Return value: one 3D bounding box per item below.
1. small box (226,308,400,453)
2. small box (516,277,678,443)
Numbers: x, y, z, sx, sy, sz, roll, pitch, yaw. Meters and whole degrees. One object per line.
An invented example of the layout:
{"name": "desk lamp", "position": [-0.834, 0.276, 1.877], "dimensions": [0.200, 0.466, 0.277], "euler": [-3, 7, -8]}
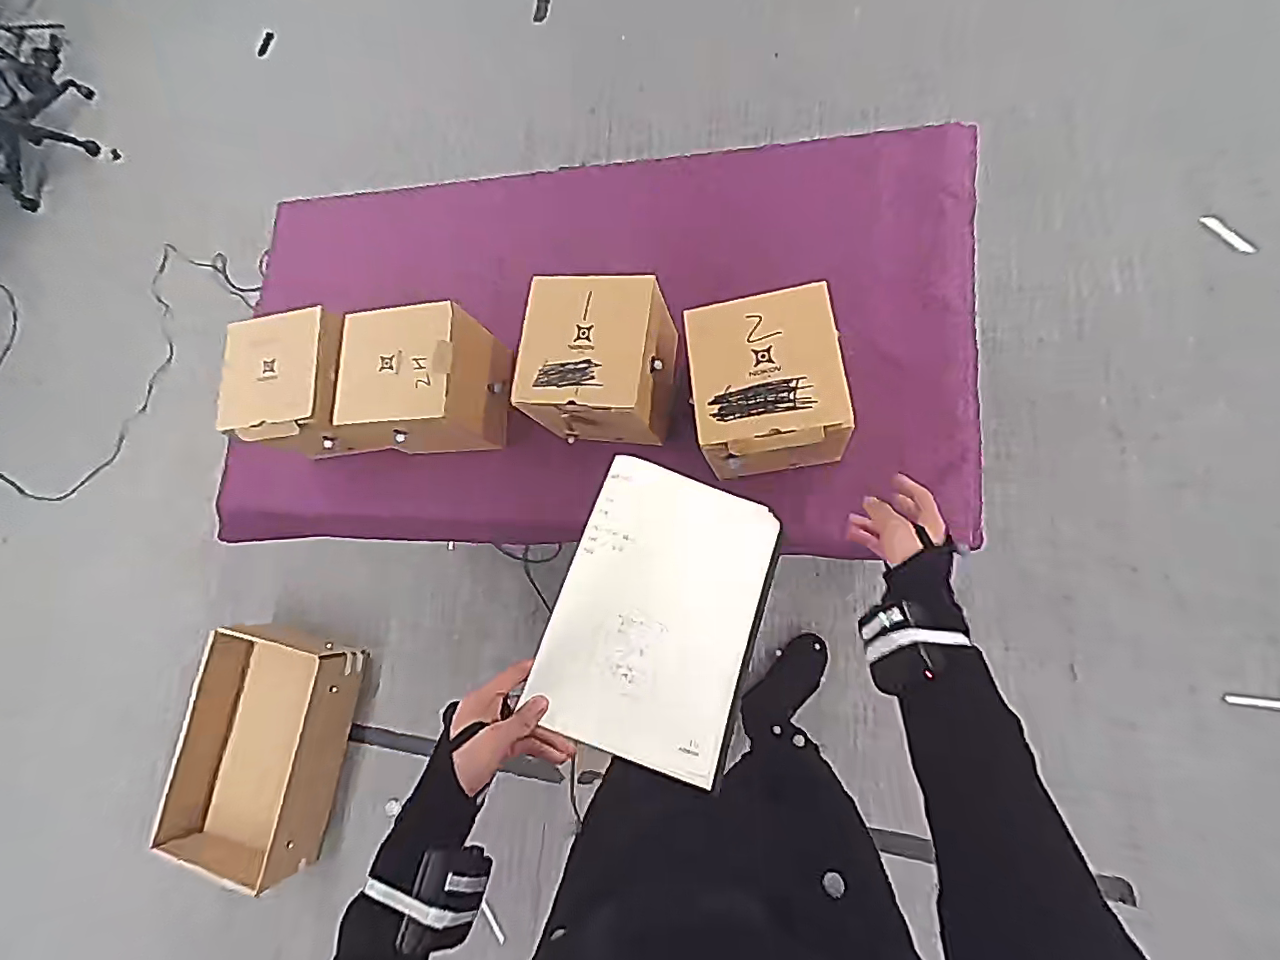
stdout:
{"name": "small box", "position": [-0.507, -0.145, 0.860], "dimensions": [0.168, 0.176, 0.179], "euler": [-5, 77, 12]}
{"name": "small box", "position": [-0.047, -0.156, 0.745], "dimensions": [0.168, 0.176, 0.179], "euler": [6, 80, 15]}
